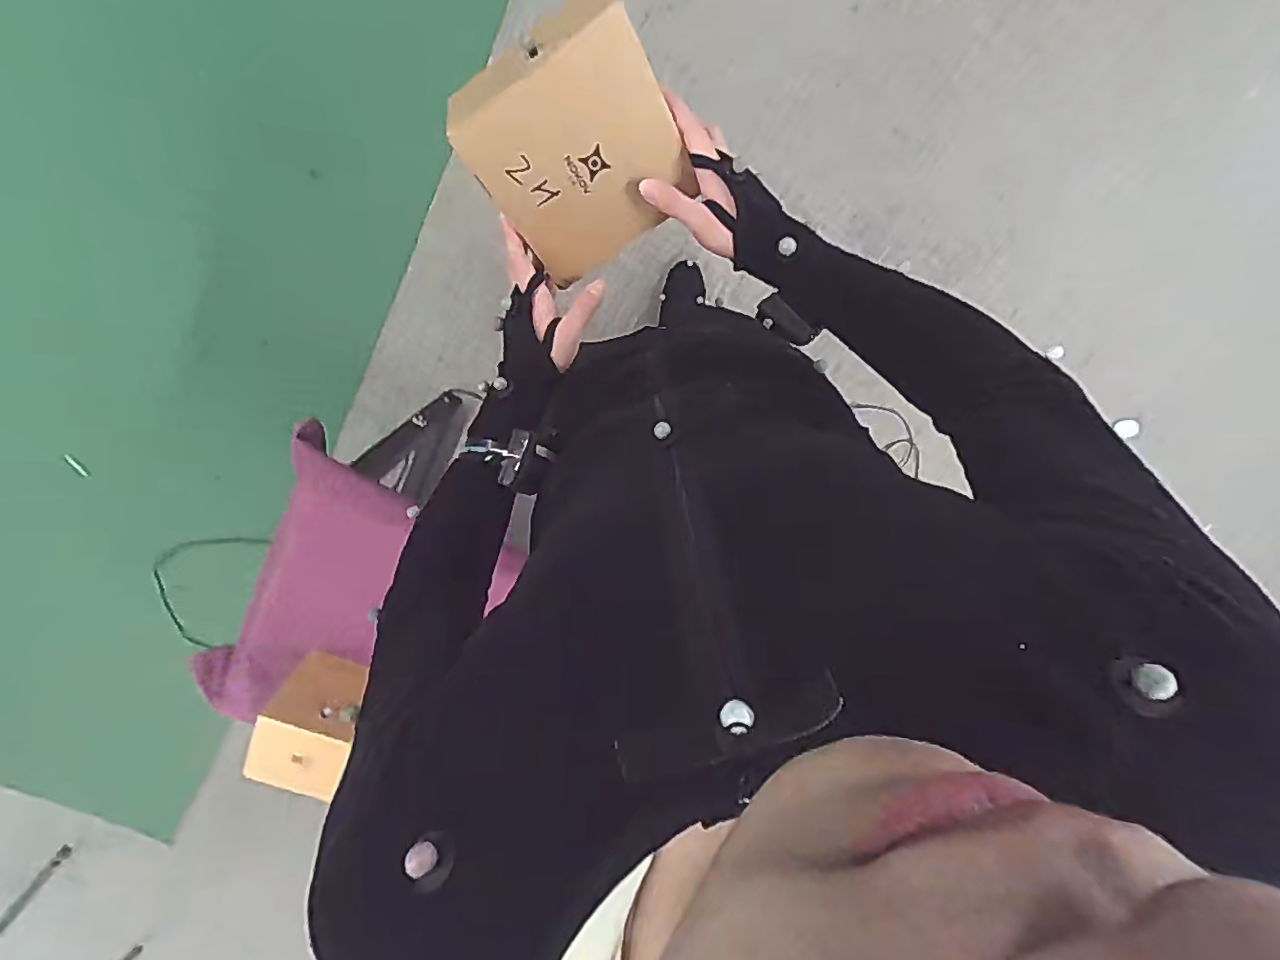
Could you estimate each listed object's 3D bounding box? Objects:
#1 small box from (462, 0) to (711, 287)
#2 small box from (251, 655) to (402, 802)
[{"bbox_3d":[-0.058,-0.336,0.536,0.179,0.176,0.168,-29,135,12],"label":"small box"},{"bbox_3d":[-0.588,0.464,1.030,0.179,0.176,0.168,22,112,-10],"label":"small box"}]
